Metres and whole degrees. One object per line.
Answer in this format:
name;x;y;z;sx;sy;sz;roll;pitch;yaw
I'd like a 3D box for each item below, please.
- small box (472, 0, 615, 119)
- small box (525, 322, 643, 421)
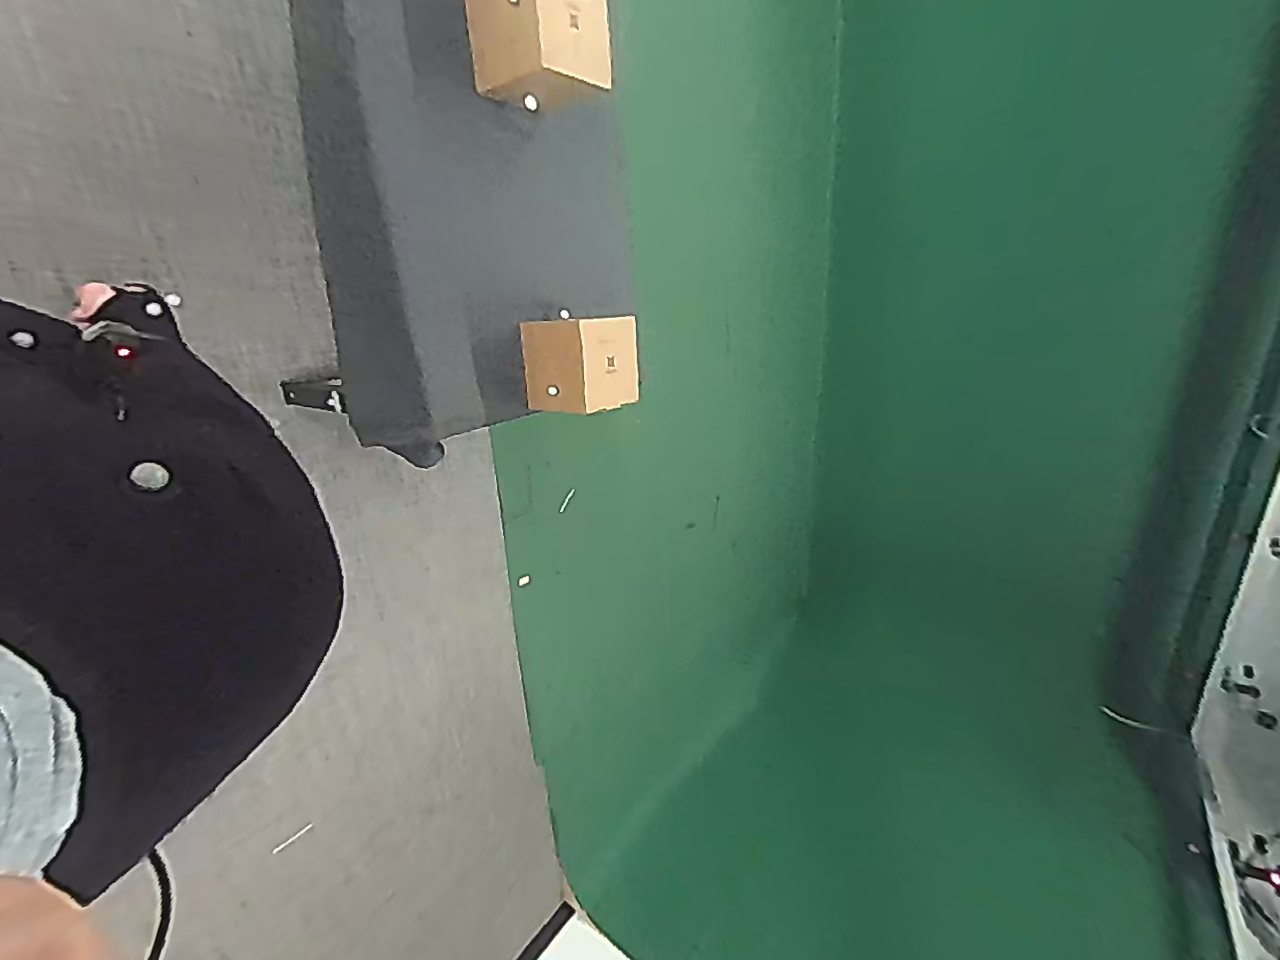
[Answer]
small box;-0.162;-0.740;0.906;0.168;0.176;0.179;-25;119;-46
small box;-0.113;-0.226;1.101;0.168;0.176;0.179;-24;116;-48
